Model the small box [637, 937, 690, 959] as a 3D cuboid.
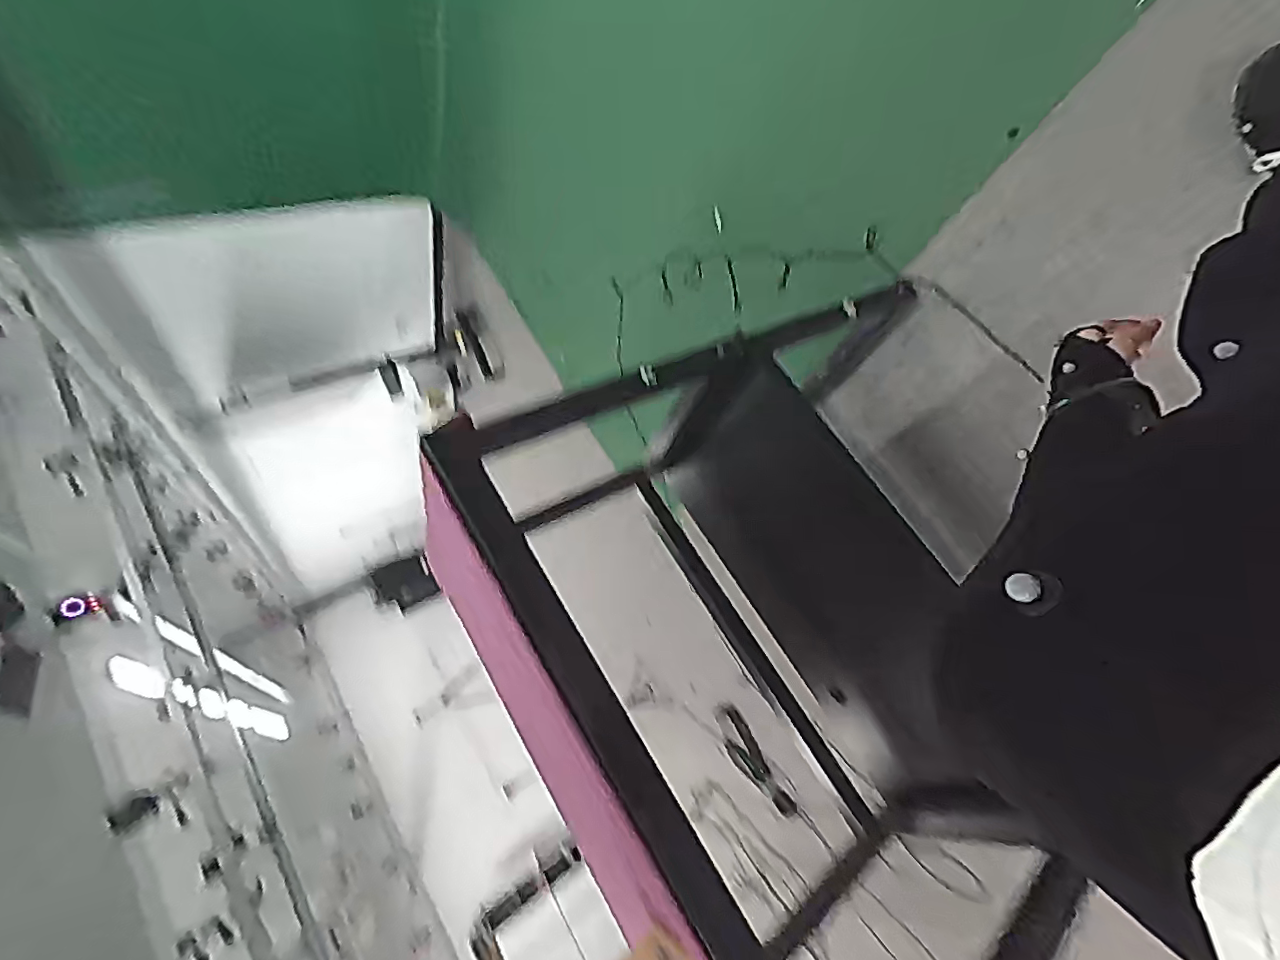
[{"bbox_3d":[0.039,0.783,0.736,0.179,0.176,0.168,56,150,15],"label":"small box"}]
